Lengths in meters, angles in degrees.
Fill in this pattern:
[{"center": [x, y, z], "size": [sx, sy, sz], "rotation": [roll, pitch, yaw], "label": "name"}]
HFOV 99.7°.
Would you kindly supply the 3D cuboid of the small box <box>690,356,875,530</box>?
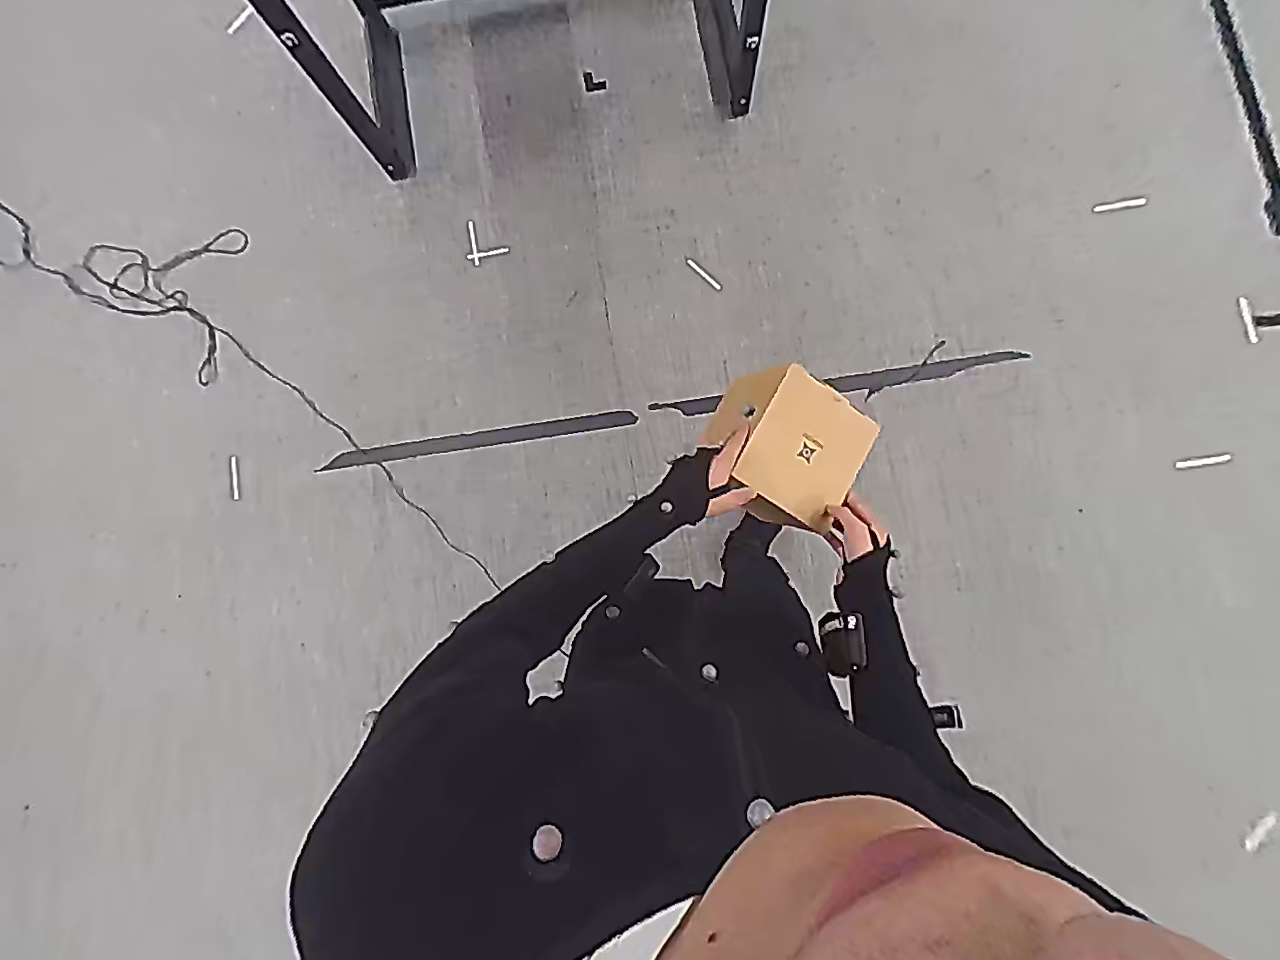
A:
[{"center": [0.193, -0.049, 0.786], "size": [0.168, 0.176, 0.179], "rotation": [31, 83, -16], "label": "small box"}]
